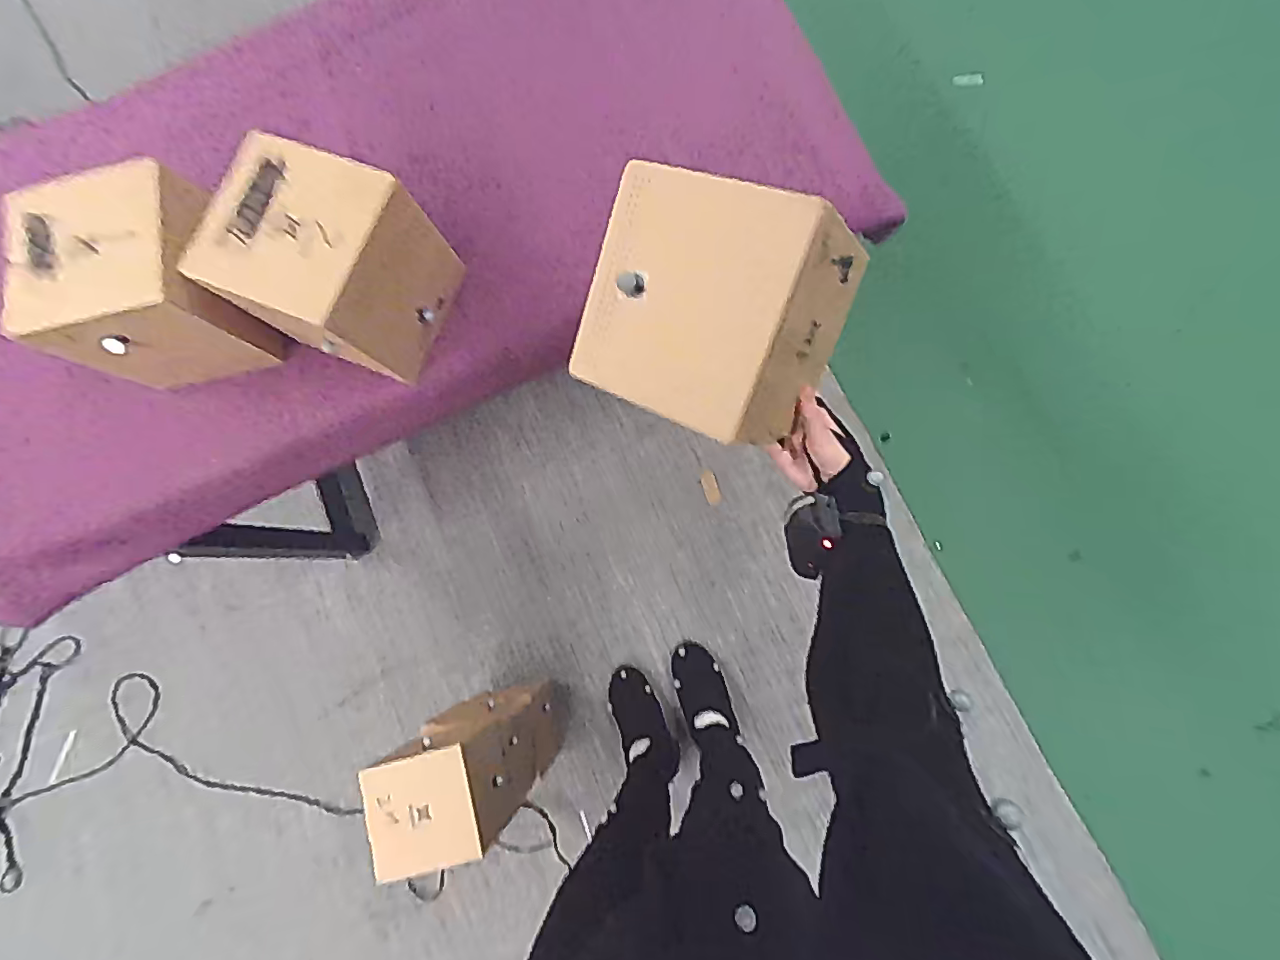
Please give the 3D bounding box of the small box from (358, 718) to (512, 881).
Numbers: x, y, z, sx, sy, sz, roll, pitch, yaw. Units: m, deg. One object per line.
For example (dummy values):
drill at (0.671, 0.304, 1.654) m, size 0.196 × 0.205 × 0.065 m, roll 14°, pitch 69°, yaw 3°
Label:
small box at (-0.327, 0.515, 0.898) m, size 0.179 × 0.176 × 0.168 m, roll -16°, pitch 79°, yaw 4°

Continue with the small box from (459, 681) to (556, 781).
small box at (-0.295, 0.561, 1.220) m, size 0.168 × 0.176 × 0.179 m, roll -9°, pitch 81°, yaw 5°

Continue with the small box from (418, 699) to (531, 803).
small box at (-0.318, 0.542, 1.061) m, size 0.168 × 0.176 × 0.179 m, roll -4°, pitch 81°, yaw 6°
